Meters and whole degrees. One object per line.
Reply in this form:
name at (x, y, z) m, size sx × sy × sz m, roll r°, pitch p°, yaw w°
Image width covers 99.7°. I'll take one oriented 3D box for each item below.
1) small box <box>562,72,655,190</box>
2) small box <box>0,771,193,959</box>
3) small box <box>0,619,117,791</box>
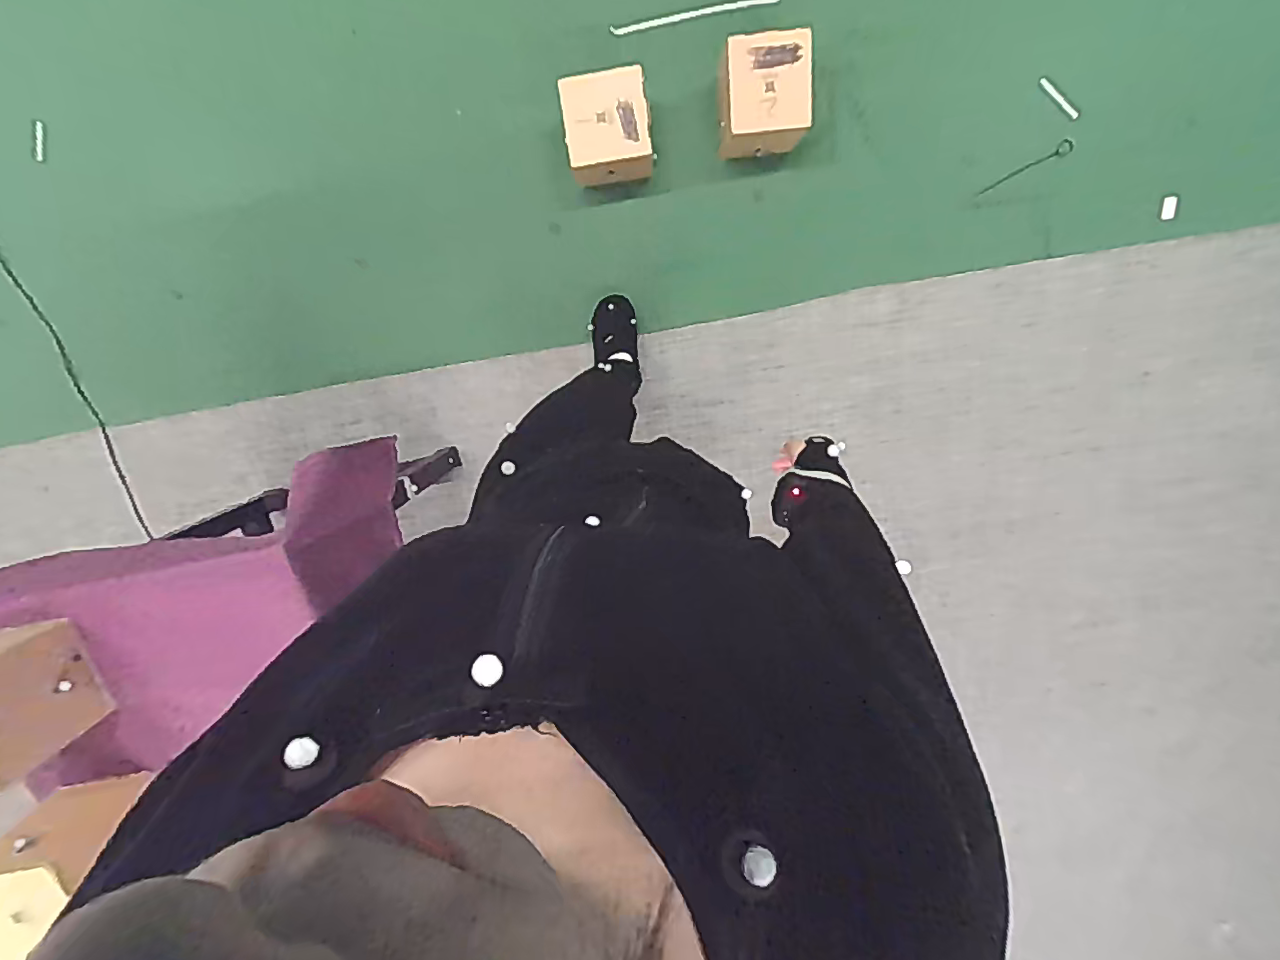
small box at (-0.061, -0.760, 1.196) m, size 0.179 × 0.176 × 0.168 m, roll -7°, pitch 105°, yaw 5°
small box at (-0.869, 0.592, 0.843) m, size 0.179 × 0.176 × 0.168 m, roll -12°, pitch 105°, yaw 4°
small box at (-0.922, 0.319, 0.763) m, size 0.179 × 0.176 × 0.168 m, roll -10°, pitch 106°, yaw 1°
